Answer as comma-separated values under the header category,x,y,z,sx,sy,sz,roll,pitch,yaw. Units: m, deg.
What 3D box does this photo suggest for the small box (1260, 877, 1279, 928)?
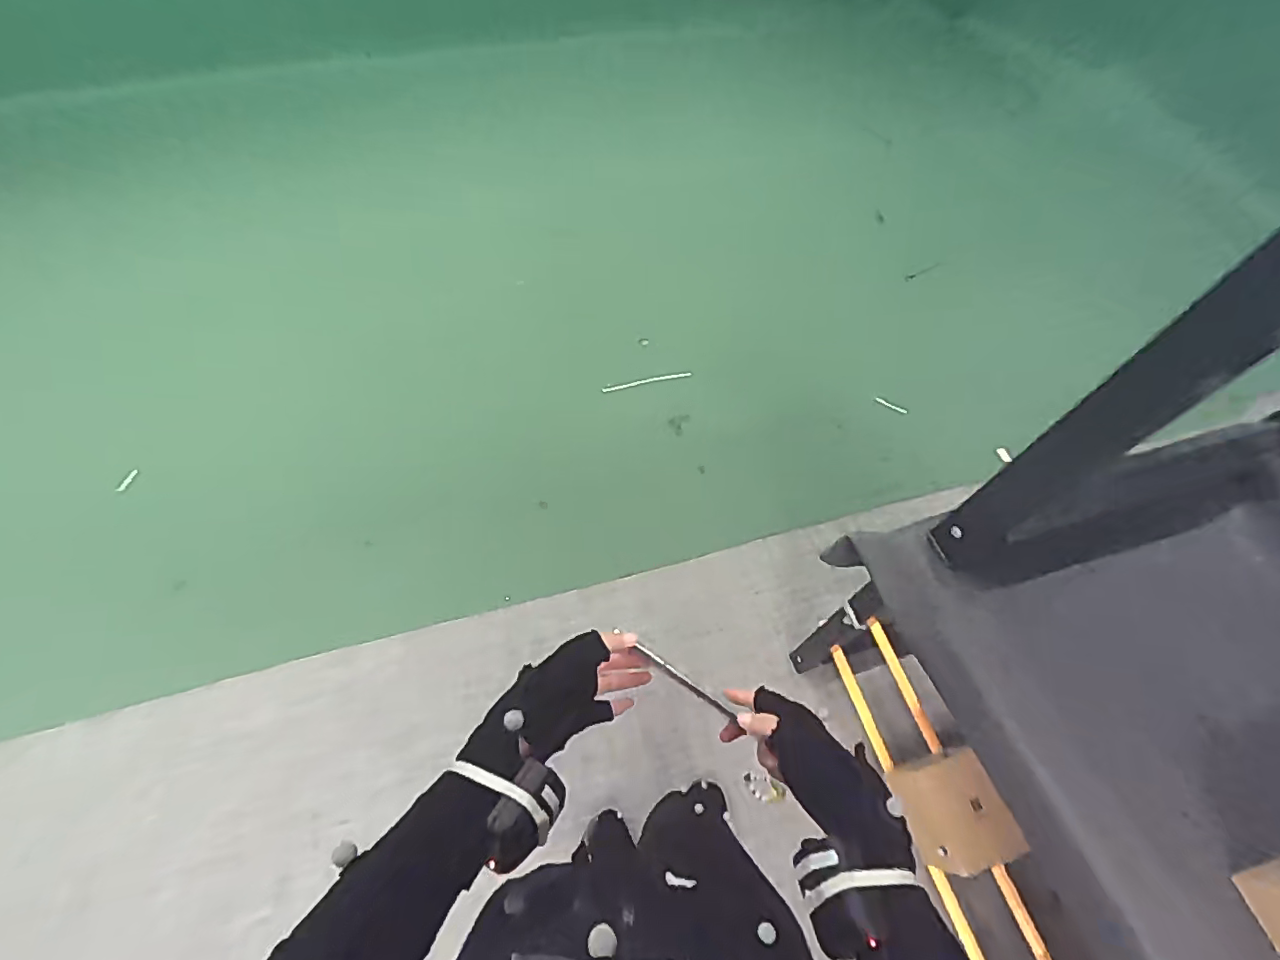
category,x,y,z,sx,sy,sz,roll,pitch,yaw
small box,0.733,0.437,0.465,0.168,0.176,0.179,-11,60,-7
